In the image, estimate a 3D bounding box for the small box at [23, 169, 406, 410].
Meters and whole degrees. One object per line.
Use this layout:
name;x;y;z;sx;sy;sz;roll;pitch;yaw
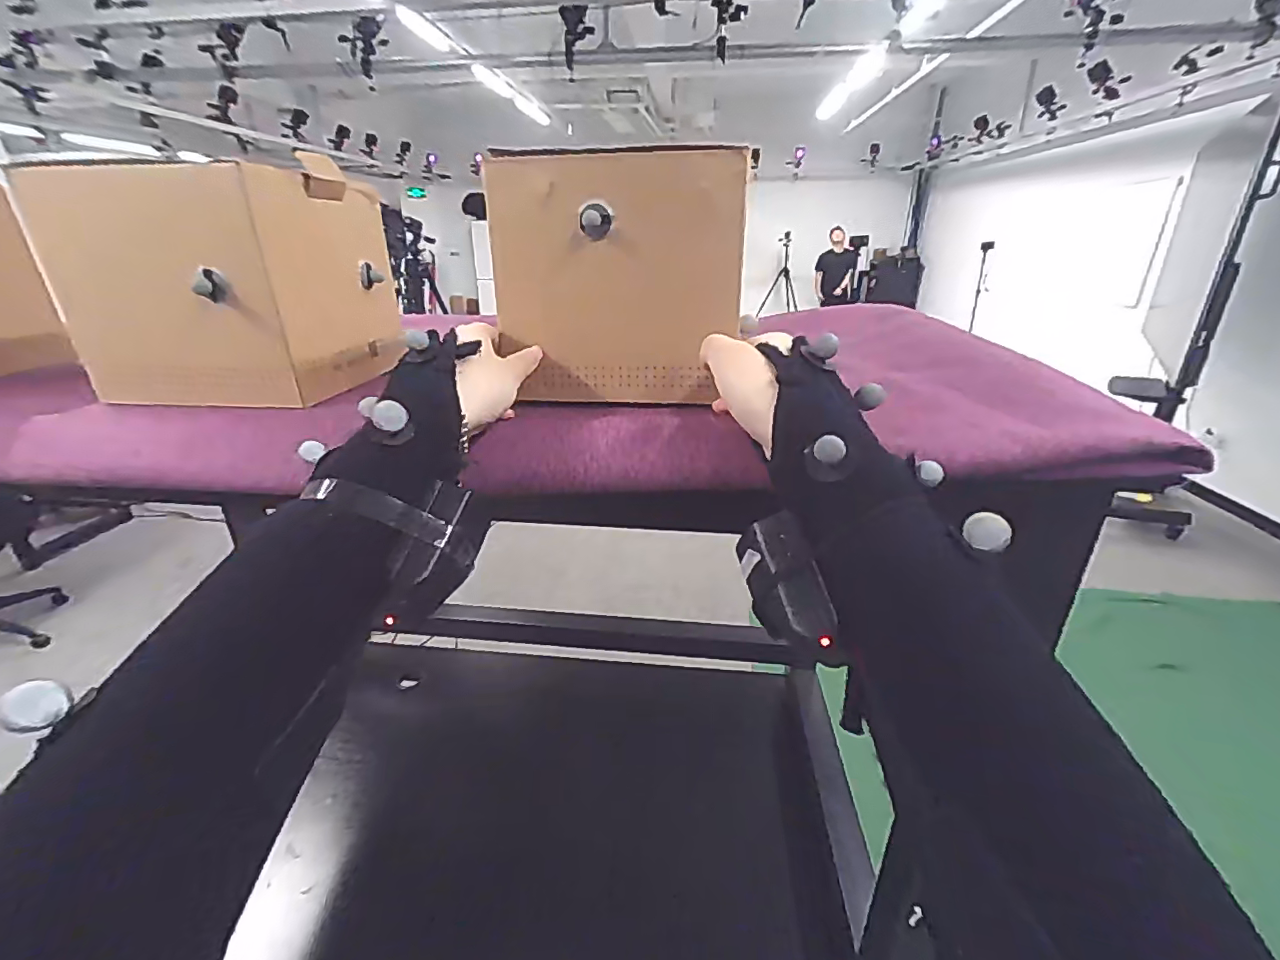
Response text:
small box;-0.329;-0.160;0.465;0.179;0.176;0.168;1;23;5

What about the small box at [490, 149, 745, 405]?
small box;-0.006;-0.161;0.456;0.179;0.176;0.168;3;21;7
